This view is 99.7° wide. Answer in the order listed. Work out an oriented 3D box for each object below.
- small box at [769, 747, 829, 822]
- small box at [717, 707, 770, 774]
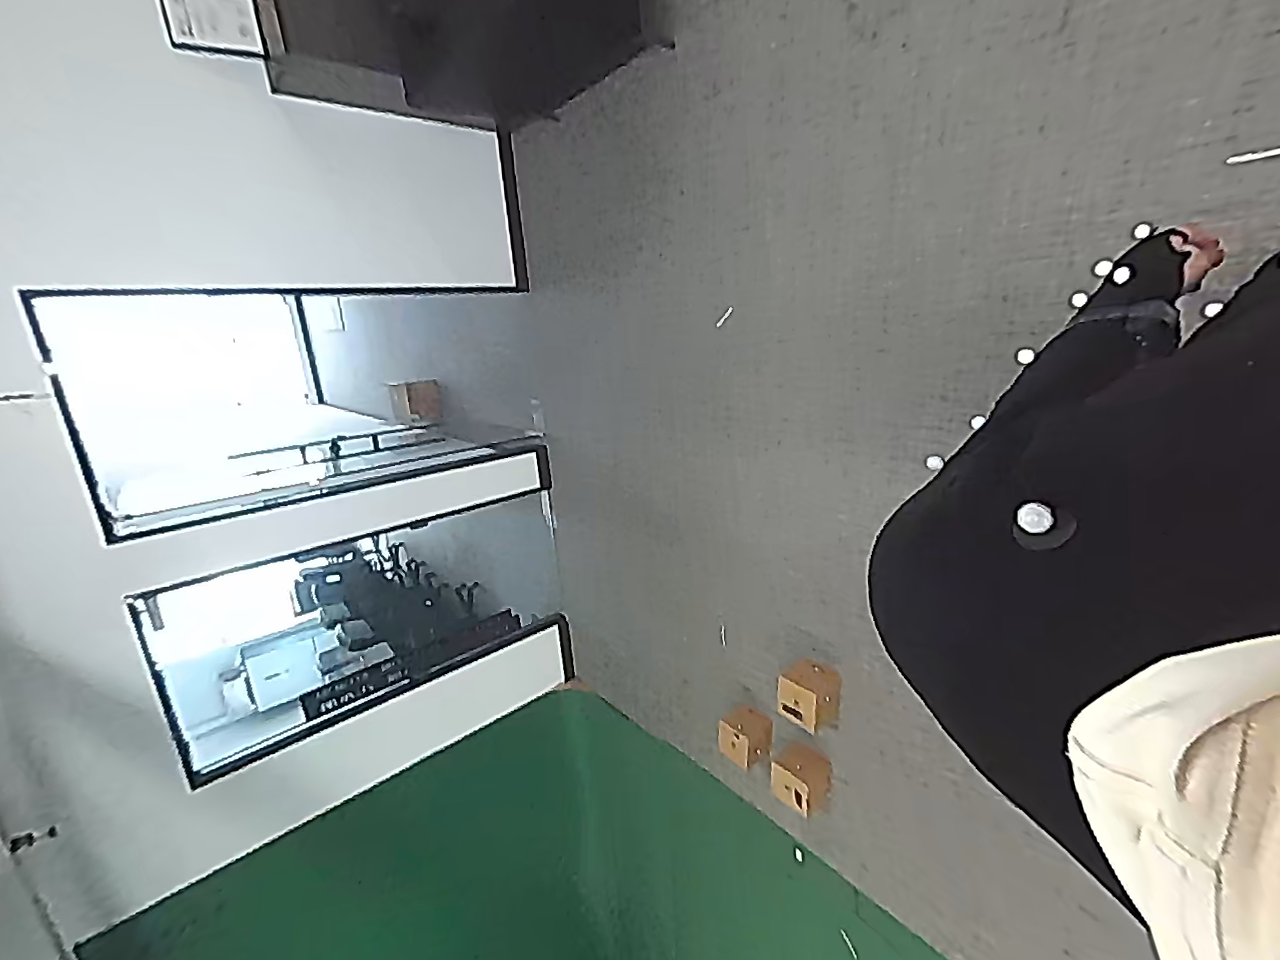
[{"bbox_3d":[0.649,1.229,2.200,0.179,0.176,0.168,16,114,48],"label":"small box"},{"bbox_3d":[0.463,1.156,2.410,0.168,0.176,0.179,18,117,47],"label":"small box"}]
